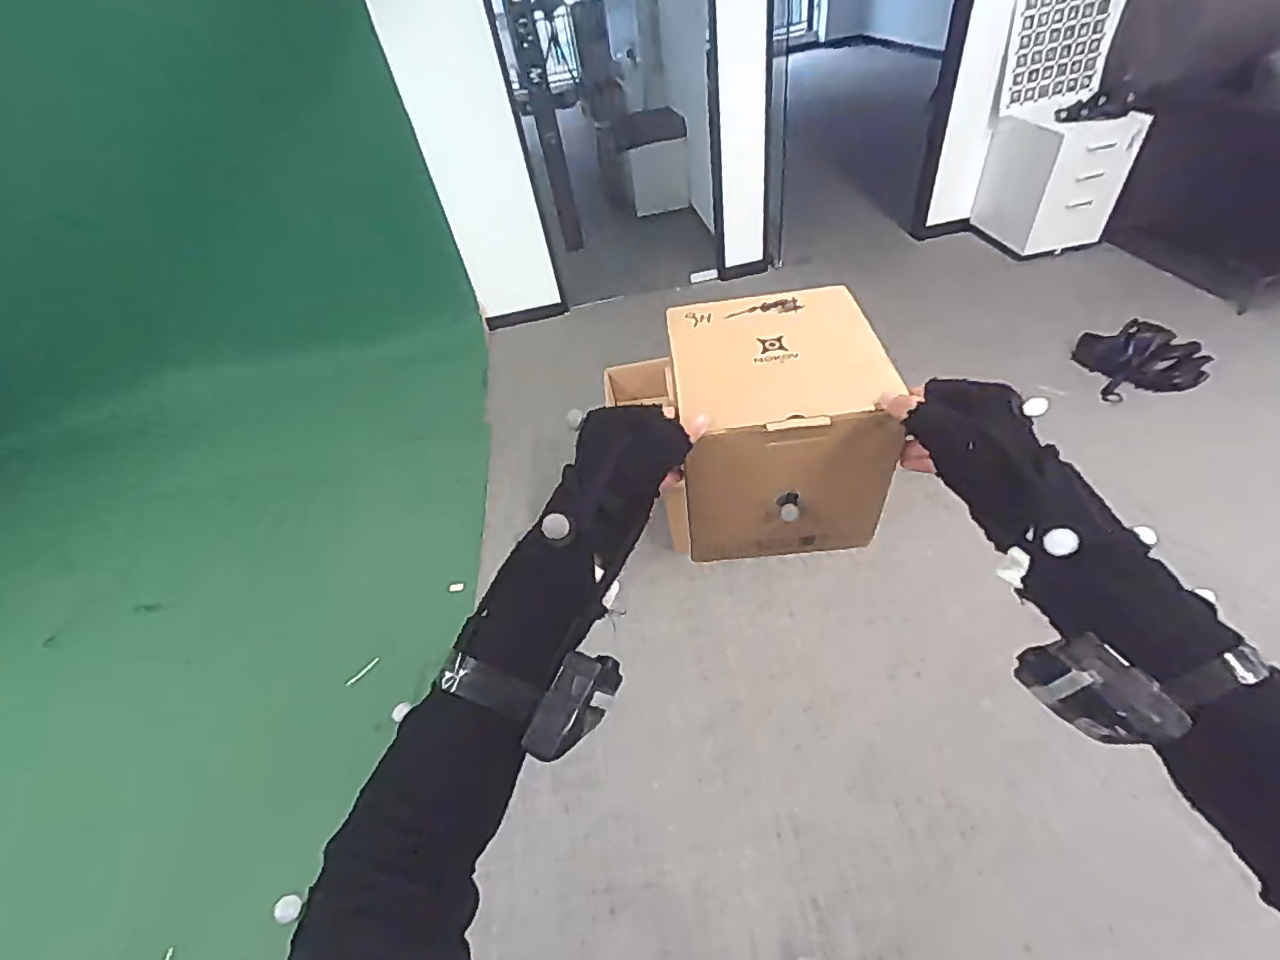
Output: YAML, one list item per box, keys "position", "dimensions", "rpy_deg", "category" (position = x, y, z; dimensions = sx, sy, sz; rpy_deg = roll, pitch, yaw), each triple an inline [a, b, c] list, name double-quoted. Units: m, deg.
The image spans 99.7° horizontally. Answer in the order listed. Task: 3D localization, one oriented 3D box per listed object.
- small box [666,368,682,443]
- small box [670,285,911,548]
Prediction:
- position: [0.169, -0.222, 1.597]
  dimensions: [0.168, 0.176, 0.179]
  rpy_deg: [-6, 42, 2]
  category: "small box"
- position: [0.121, -0.050, 0.498]
  dimensions: [0.168, 0.176, 0.179]
  rpy_deg: [-6, 48, 4]
  category: "small box"
